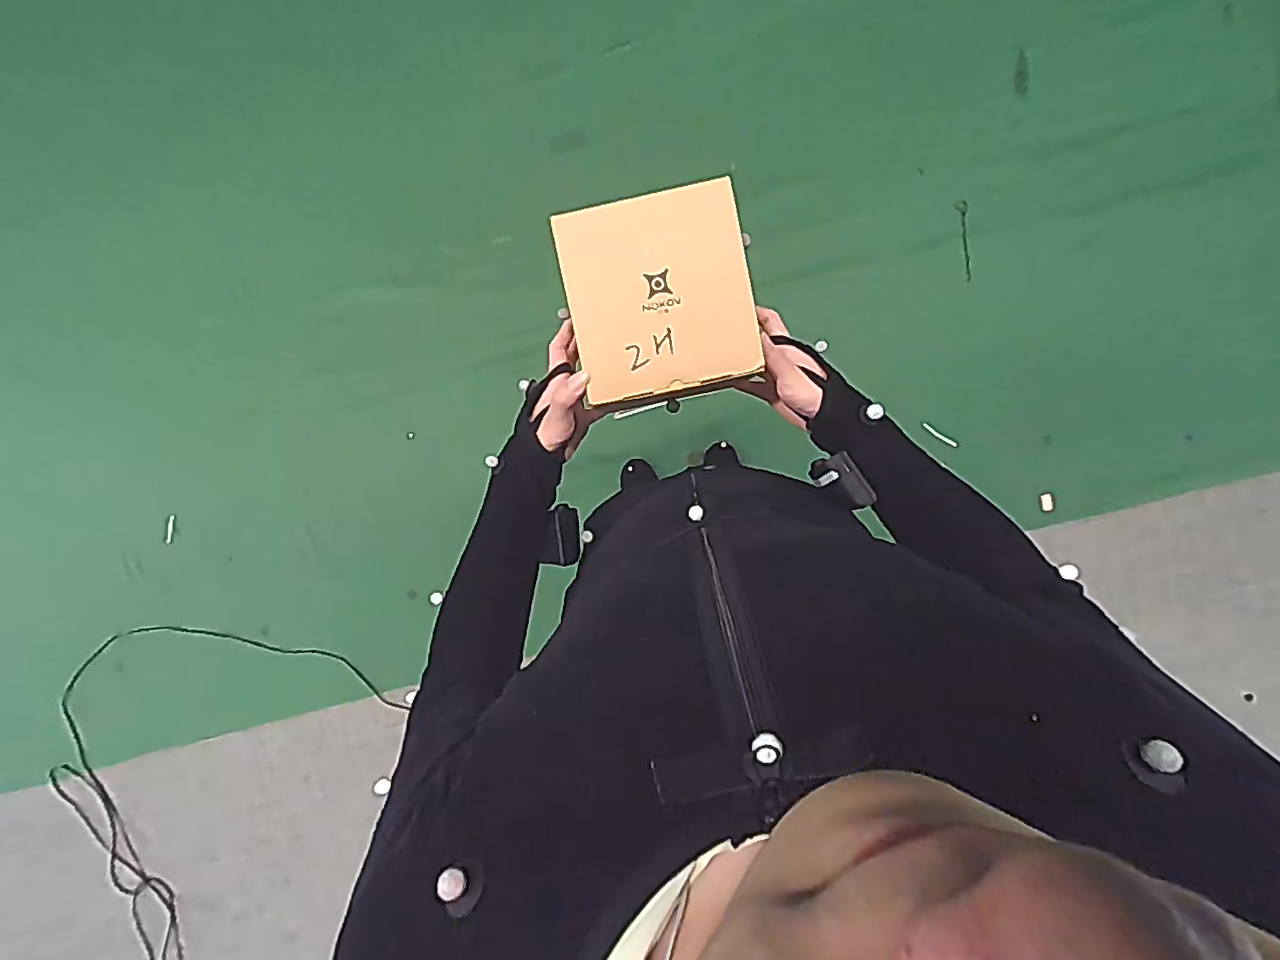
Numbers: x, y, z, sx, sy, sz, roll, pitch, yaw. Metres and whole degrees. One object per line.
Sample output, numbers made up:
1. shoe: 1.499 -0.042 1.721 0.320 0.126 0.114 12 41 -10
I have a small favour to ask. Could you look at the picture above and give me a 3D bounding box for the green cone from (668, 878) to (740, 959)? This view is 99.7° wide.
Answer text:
1. green cone: 0.195 1.371 1.537 0.202 0.368 0.200 -13 92 4
